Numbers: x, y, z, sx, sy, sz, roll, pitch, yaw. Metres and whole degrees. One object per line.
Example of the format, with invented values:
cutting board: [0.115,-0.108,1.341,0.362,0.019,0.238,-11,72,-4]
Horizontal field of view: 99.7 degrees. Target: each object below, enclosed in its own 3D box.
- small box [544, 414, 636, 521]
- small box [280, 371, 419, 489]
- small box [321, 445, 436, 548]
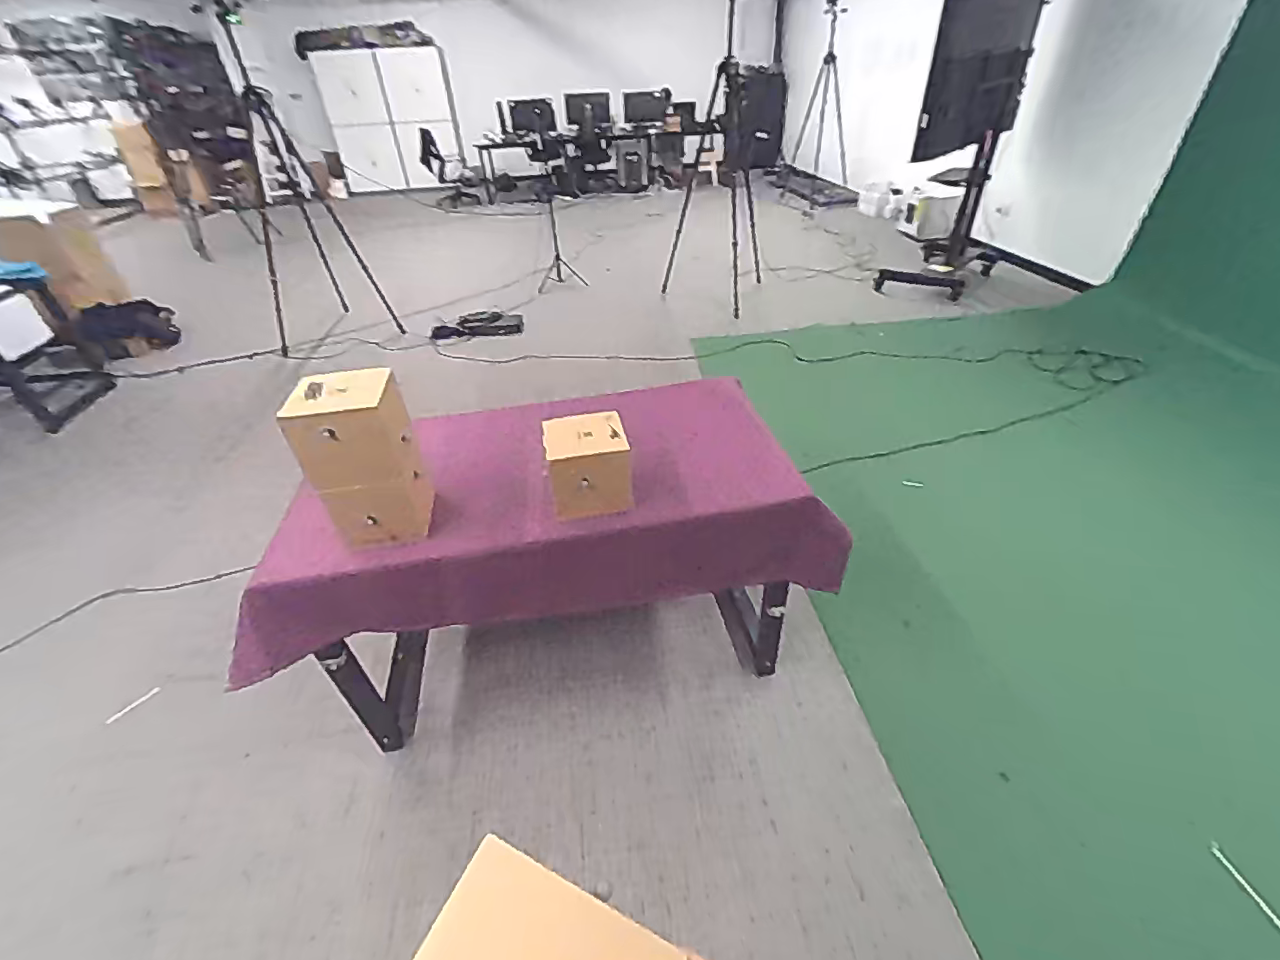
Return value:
small box: [-0.113,-0.026,1.219,0.179,0.176,0.168,-10,38,-7]
small box: [-0.563,-0.098,1.076,0.179,0.176,0.168,-8,38,-7]
small box: [-0.555,0.033,1.176,0.168,0.176,0.179,-8,37,-7]
